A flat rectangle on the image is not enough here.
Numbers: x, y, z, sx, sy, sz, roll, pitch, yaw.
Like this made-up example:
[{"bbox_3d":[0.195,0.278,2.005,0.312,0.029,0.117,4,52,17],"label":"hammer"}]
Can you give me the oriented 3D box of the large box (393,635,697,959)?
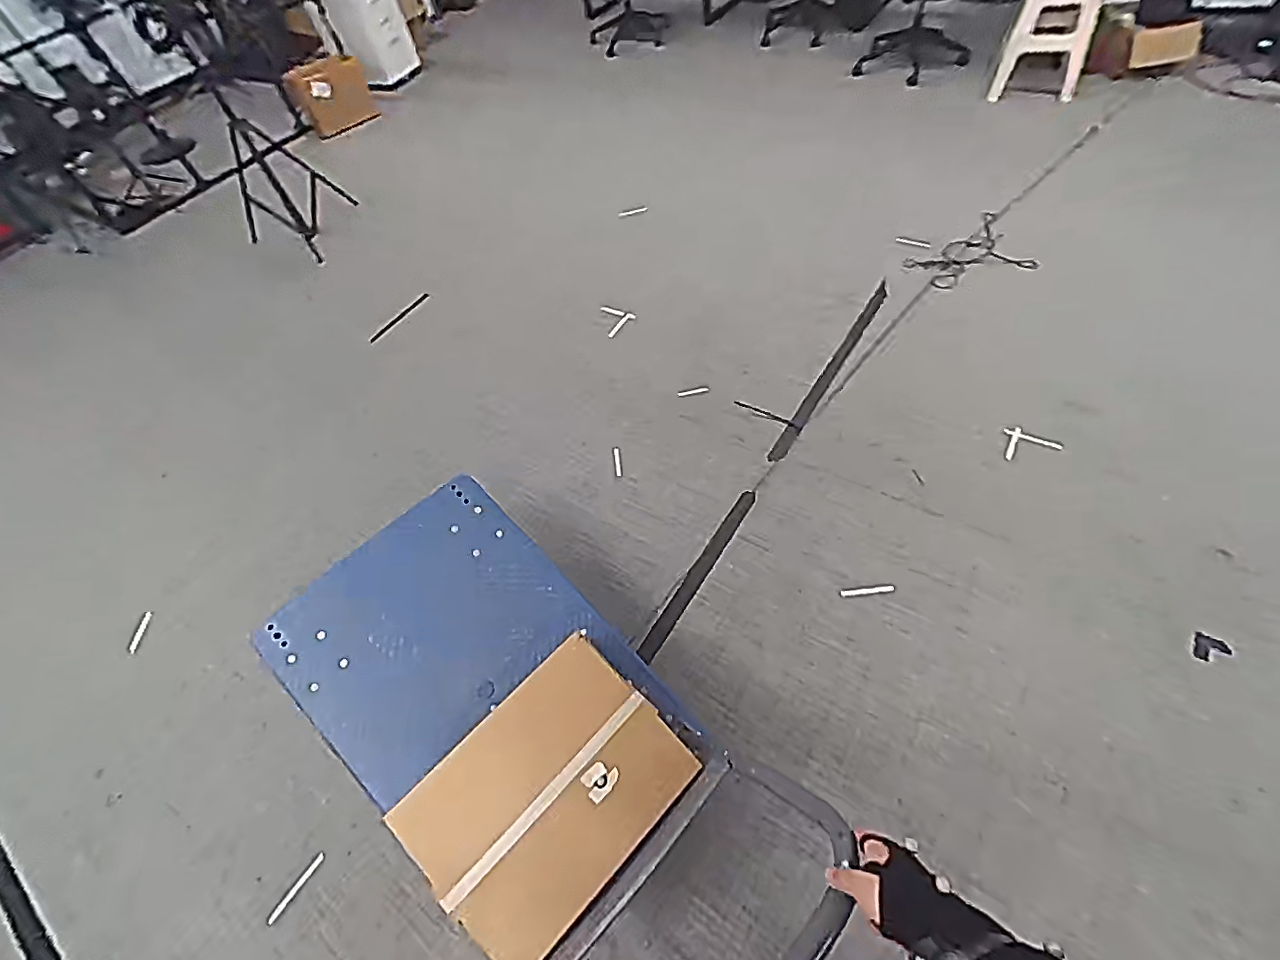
[{"bbox_3d":[-0.164,0.560,1.010,0.320,0.320,0.408,45,69,9],"label":"large box"}]
